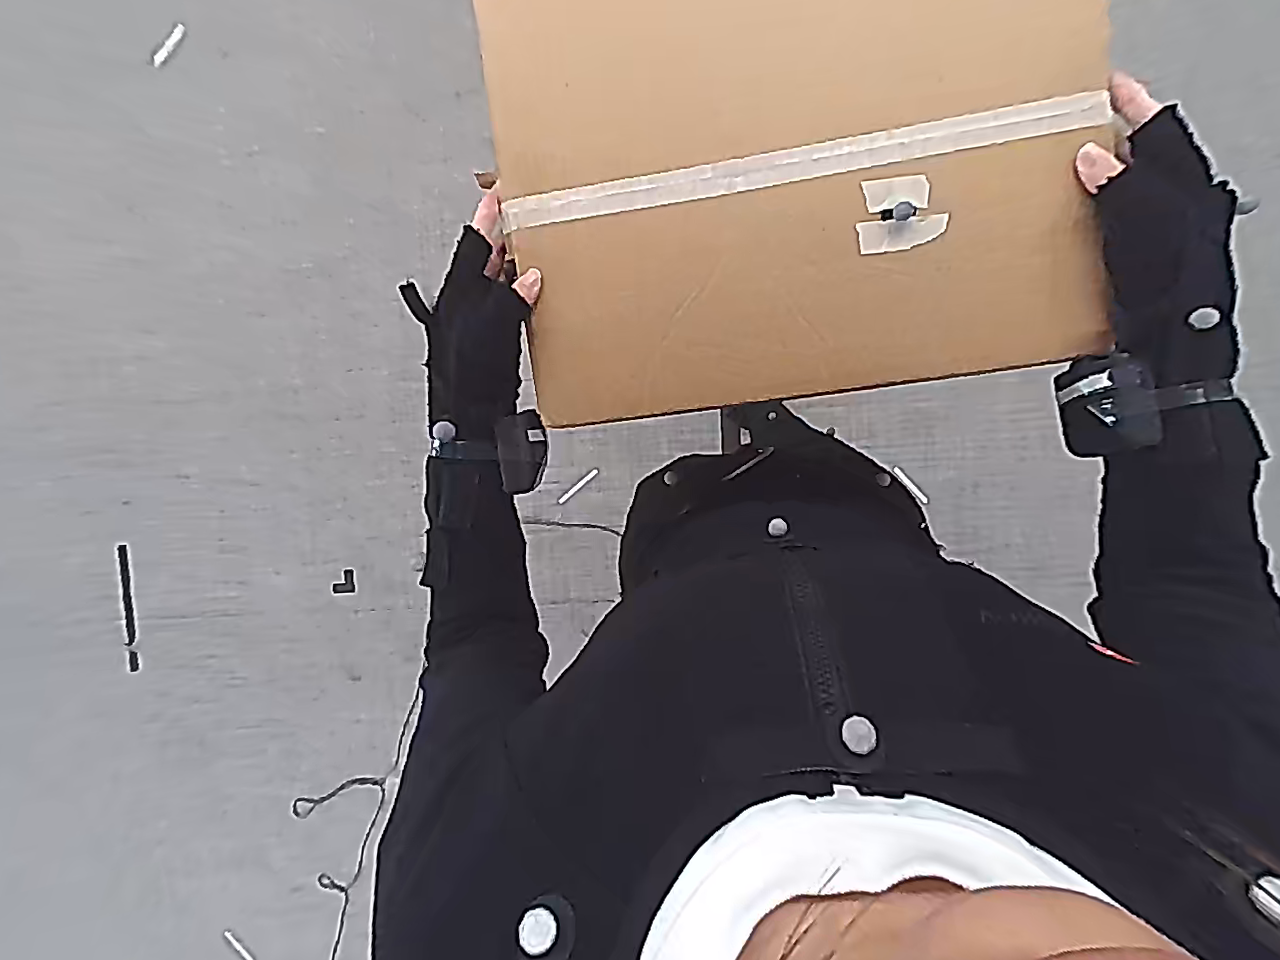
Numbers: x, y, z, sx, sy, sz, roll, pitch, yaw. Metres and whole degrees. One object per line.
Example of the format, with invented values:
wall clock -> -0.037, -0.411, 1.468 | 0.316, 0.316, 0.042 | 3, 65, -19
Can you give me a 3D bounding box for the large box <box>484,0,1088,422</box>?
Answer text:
large box -> 0.113, -0.242, 0.534 | 0.408, 0.320, 0.320 | -8, 98, 5
